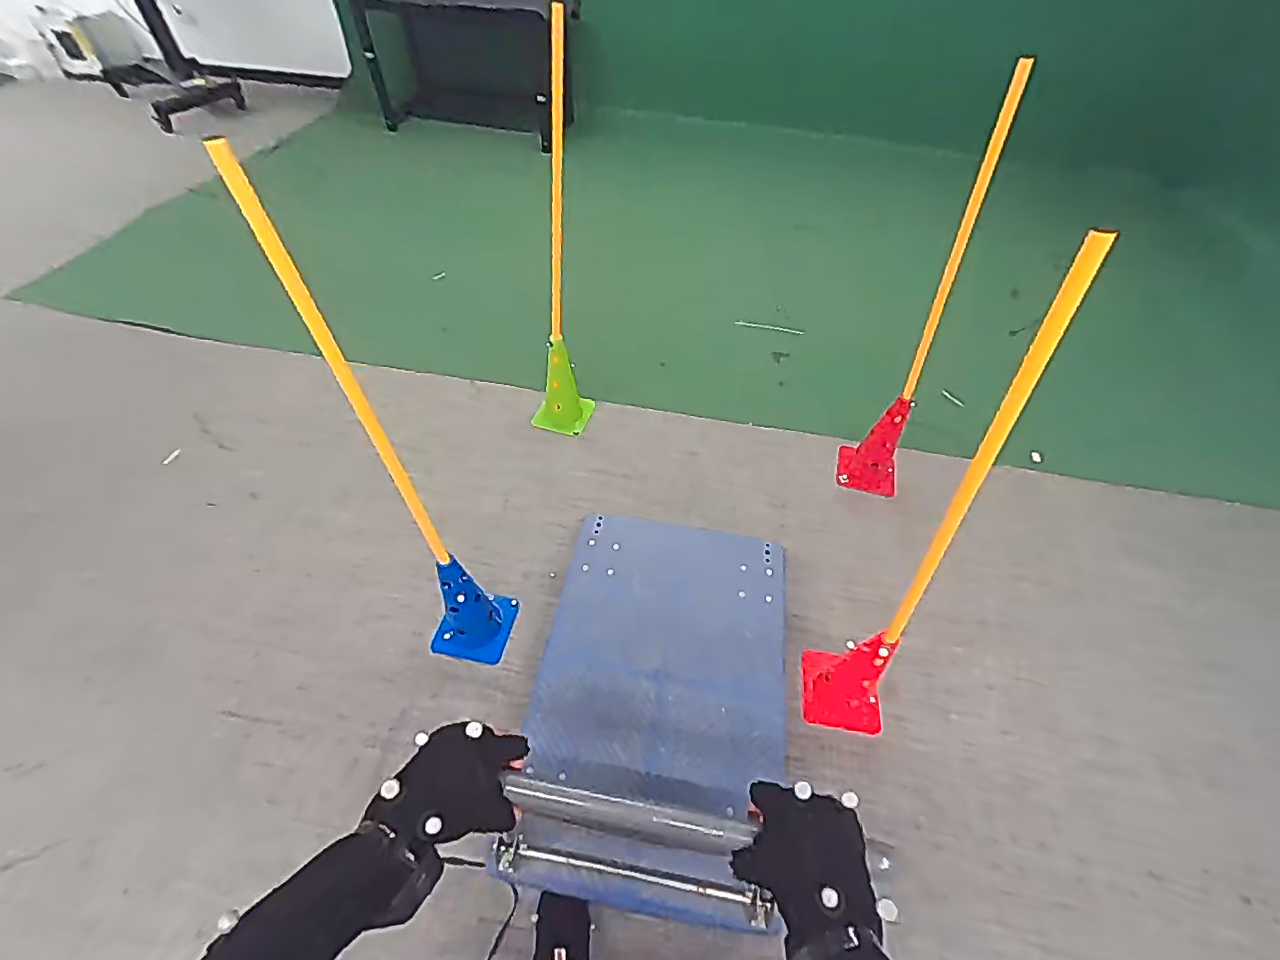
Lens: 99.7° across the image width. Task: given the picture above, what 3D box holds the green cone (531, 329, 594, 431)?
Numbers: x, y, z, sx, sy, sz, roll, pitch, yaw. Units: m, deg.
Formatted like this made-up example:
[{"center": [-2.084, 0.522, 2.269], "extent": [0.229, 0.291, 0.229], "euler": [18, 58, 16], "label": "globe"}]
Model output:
[{"center": [-0.291, -0.380, 1.948], "extent": [0.202, 0.368, 0.200], "euler": [13, 51, 9], "label": "green cone"}]

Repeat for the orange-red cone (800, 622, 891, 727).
[{"center": [0.532, 0.443, 1.327], "extent": [0.199, 0.360, 0.198], "euler": [8, 51, 7], "label": "orange-red cone"}]
